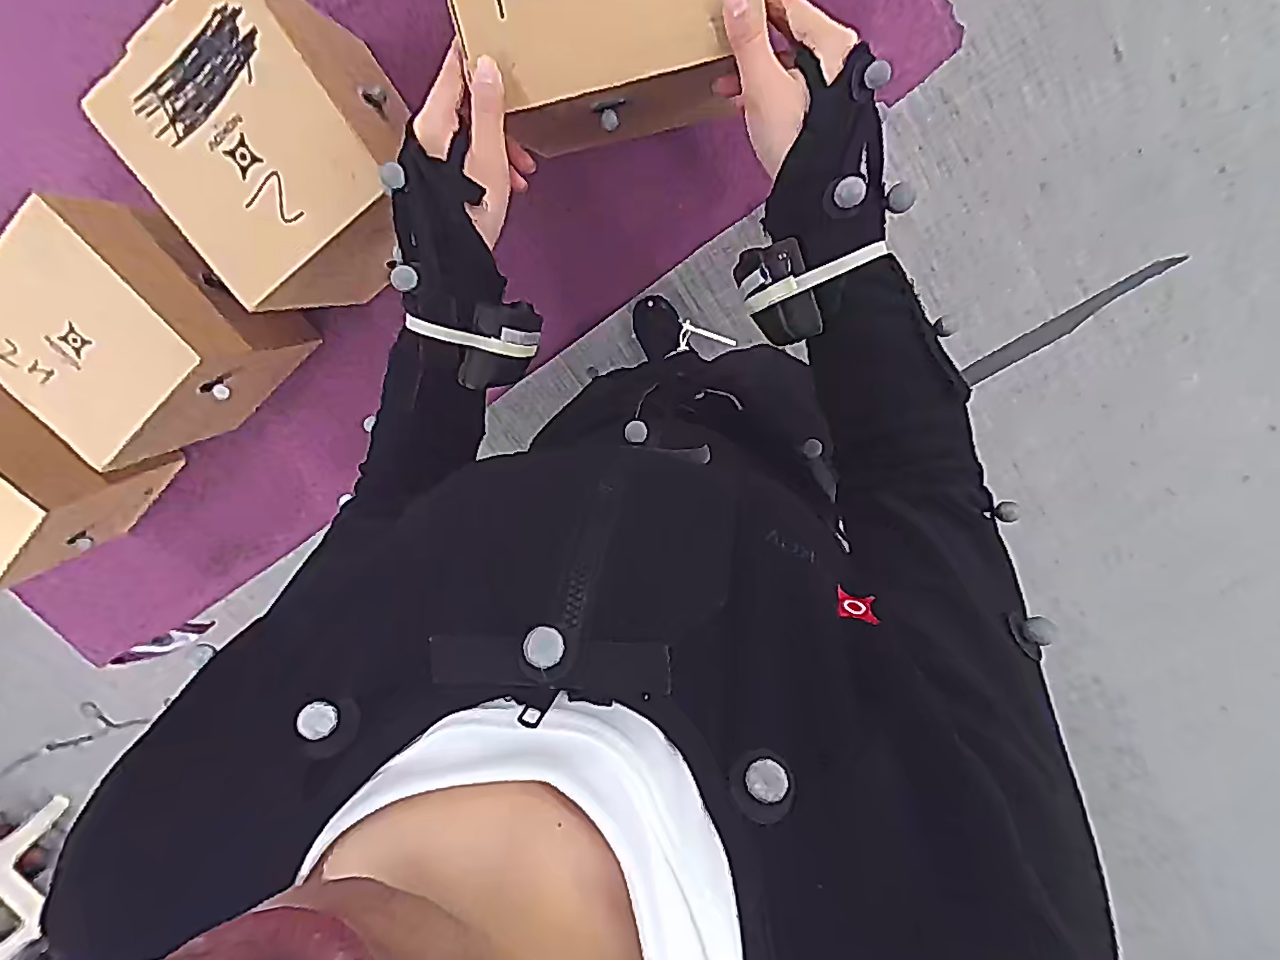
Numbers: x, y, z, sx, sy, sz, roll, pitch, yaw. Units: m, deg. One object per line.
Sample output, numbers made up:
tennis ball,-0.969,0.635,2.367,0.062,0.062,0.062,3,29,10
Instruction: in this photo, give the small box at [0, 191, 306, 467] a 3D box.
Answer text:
small box,-0.477,-0.147,0.535,0.179,0.176,0.168,-36,103,16

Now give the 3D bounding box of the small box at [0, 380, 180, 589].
small box,-0.685,-0.014,0.606,0.168,0.176,0.179,-39,102,17
